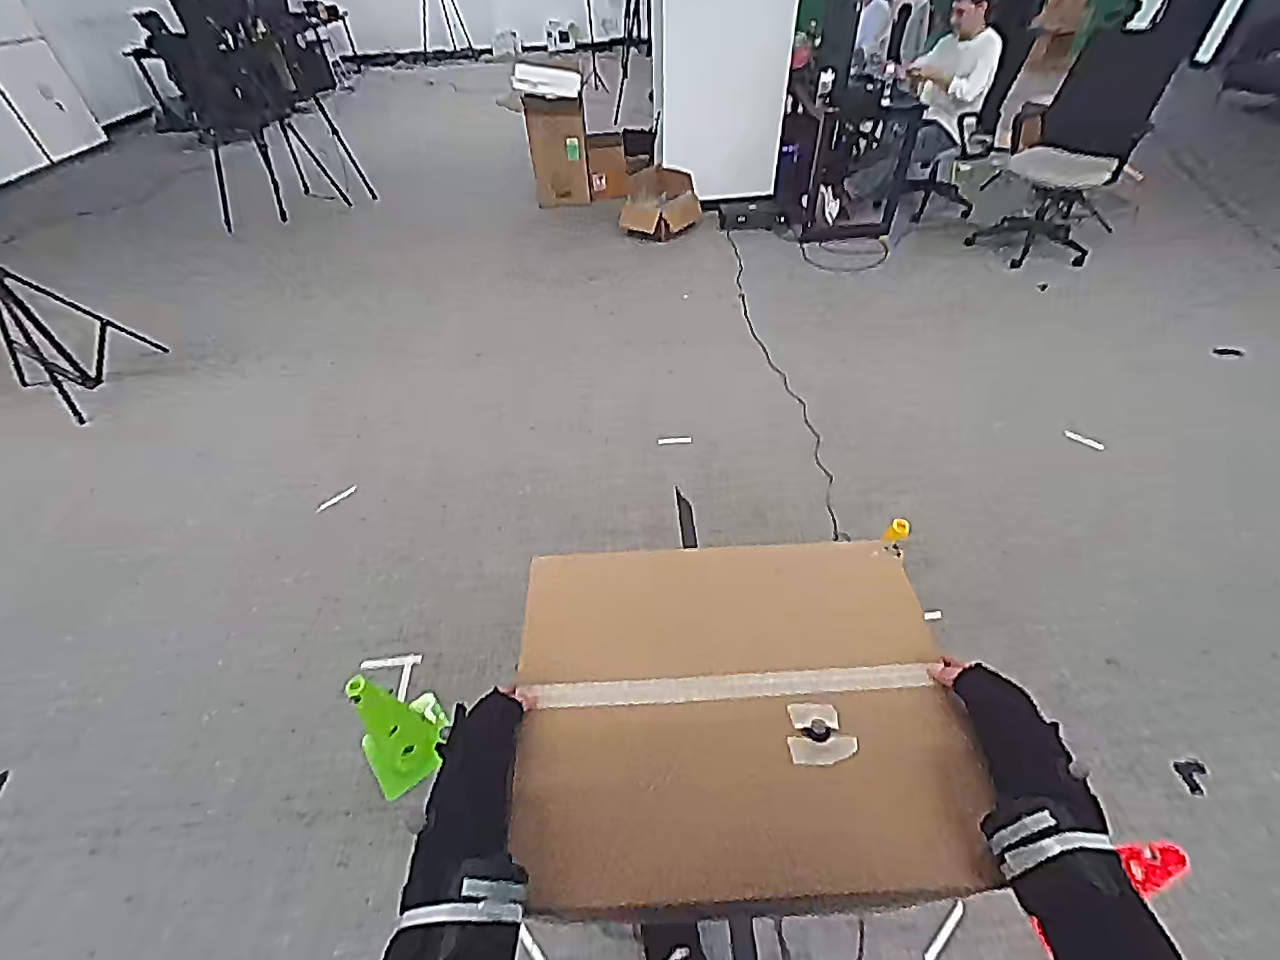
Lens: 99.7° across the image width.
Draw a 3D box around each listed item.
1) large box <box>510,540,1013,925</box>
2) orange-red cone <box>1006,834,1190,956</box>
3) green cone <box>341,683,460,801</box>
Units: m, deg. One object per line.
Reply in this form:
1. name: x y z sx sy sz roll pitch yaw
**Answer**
1. large box: 0.089 0.292 0.625 0.408 0.320 0.320 -3 49 -1
2. orange-red cone: 0.899 0.746 1.022 0.198 0.360 0.199 -5 44 -3
3. green cone: -0.606 0.571 1.287 0.202 0.368 0.200 -34 52 -25
